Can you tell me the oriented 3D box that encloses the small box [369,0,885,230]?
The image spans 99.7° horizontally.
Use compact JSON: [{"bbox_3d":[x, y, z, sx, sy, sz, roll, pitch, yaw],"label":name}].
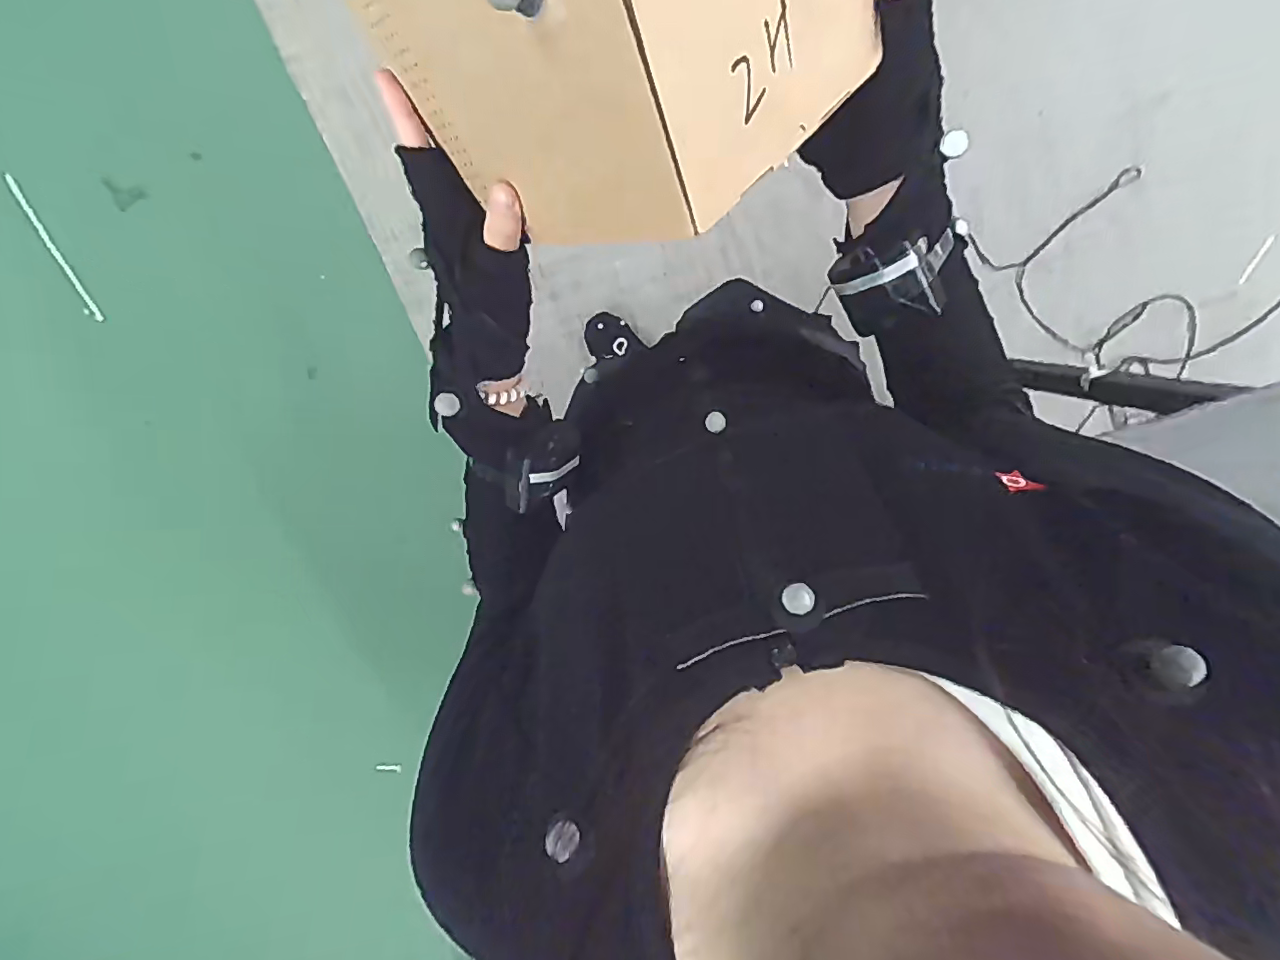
[{"bbox_3d":[-0.011,-0.237,0.248,0.168,0.176,0.179,-48,135,-21],"label":"small box"}]
